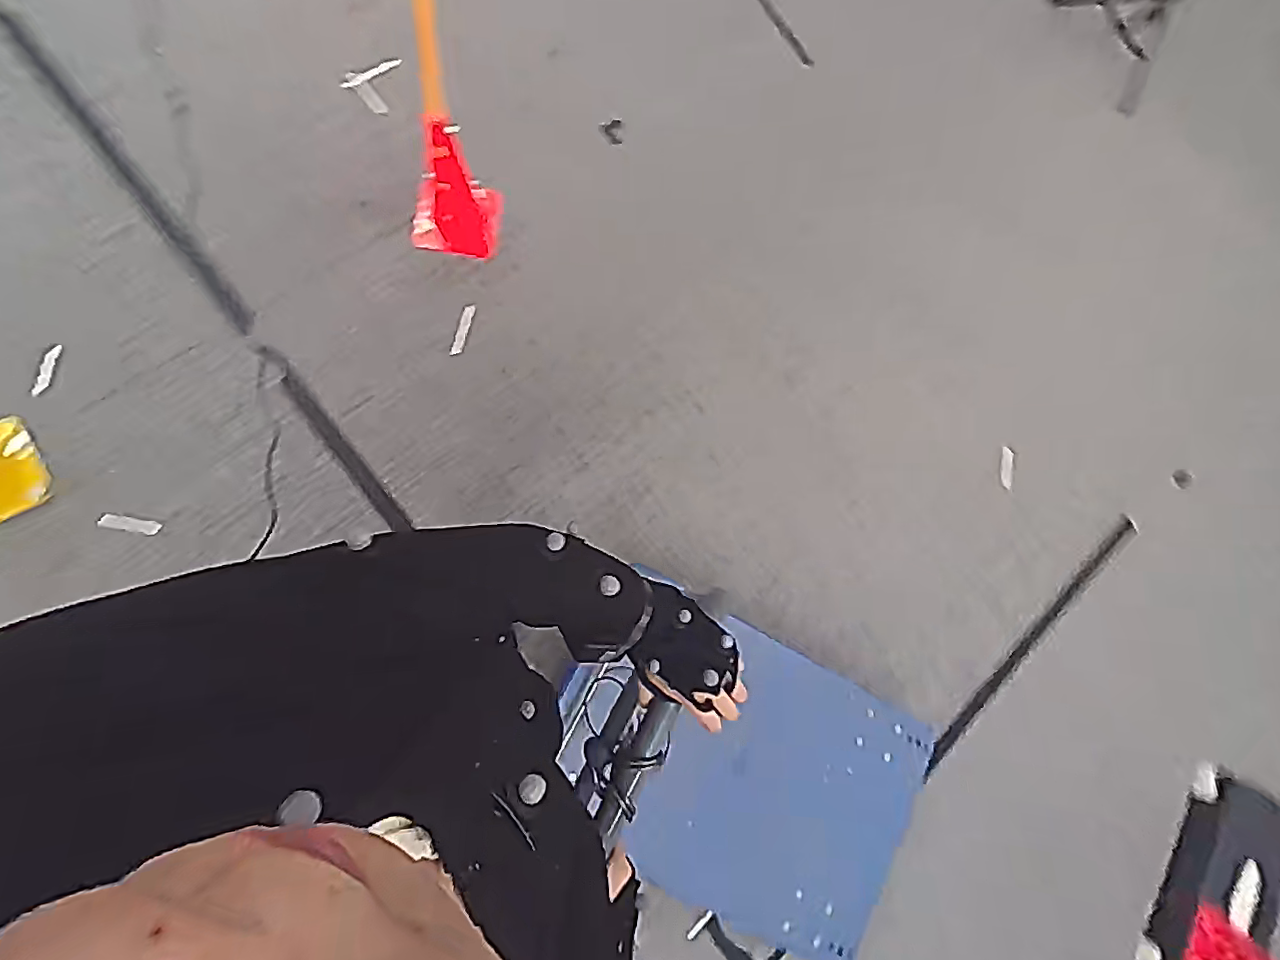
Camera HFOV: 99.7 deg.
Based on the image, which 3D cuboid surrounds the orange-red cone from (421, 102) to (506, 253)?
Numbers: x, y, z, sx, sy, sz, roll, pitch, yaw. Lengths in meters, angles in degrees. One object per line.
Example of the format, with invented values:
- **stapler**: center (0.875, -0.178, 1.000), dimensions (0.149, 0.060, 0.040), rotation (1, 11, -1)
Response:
- **orange-red cone**: center (-0.436, -0.727, 1.268), dimensions (0.198, 0.360, 0.199), rotation (8, 82, -9)
